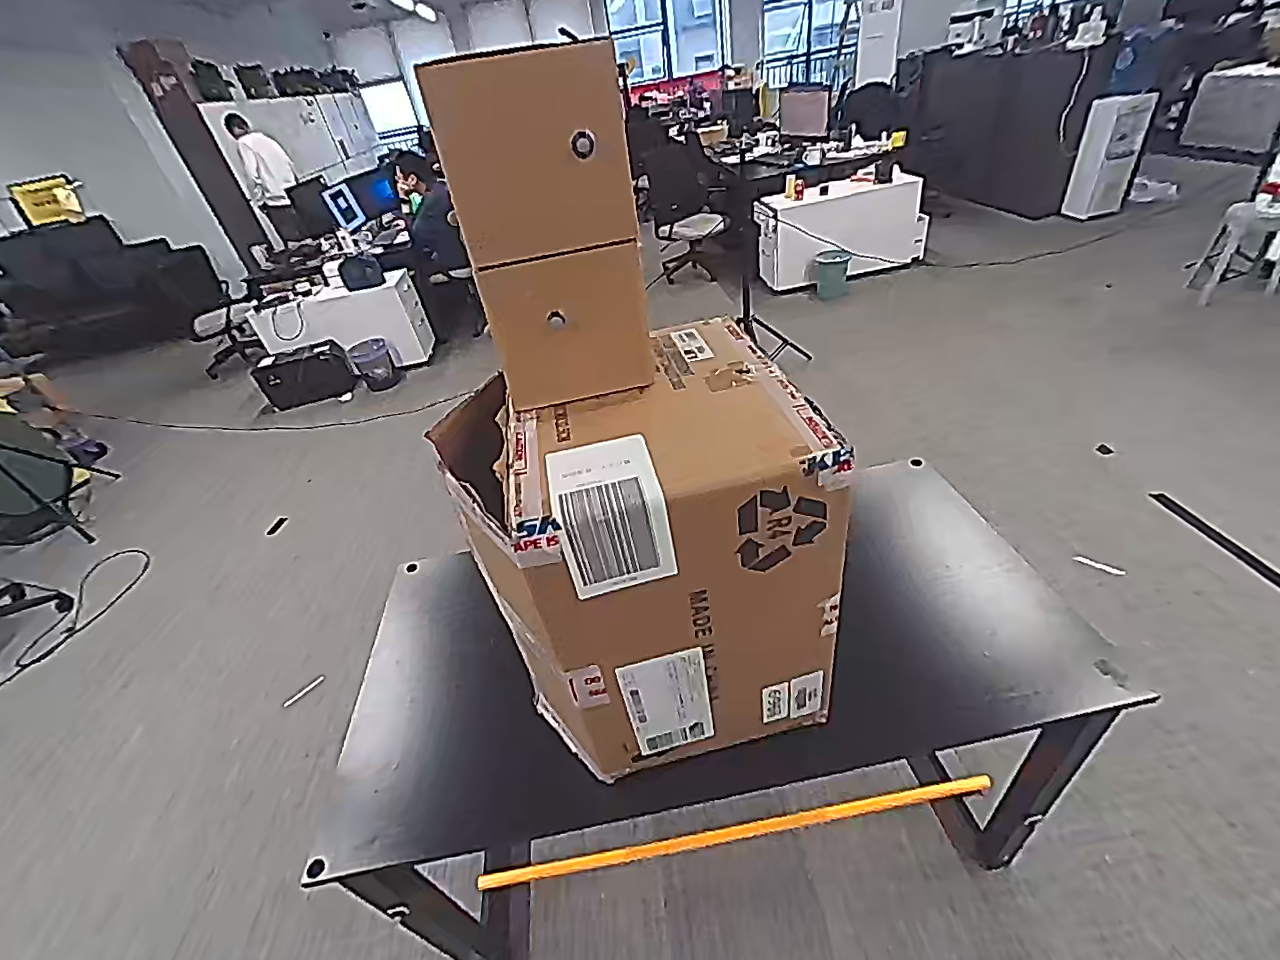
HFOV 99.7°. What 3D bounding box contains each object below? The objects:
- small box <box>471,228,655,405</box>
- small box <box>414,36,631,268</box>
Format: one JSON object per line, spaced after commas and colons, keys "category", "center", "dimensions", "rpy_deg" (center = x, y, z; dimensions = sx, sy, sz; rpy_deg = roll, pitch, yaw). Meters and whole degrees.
{"category": "small box", "center": [-0.091, -0.209, 0.666], "dimensions": [0.179, 0.176, 0.168], "rpy_deg": [-13, 35, -4]}
{"category": "small box", "center": [-0.112, -0.339, 0.569], "dimensions": [0.179, 0.176, 0.168], "rpy_deg": [-15, 34, -6]}
